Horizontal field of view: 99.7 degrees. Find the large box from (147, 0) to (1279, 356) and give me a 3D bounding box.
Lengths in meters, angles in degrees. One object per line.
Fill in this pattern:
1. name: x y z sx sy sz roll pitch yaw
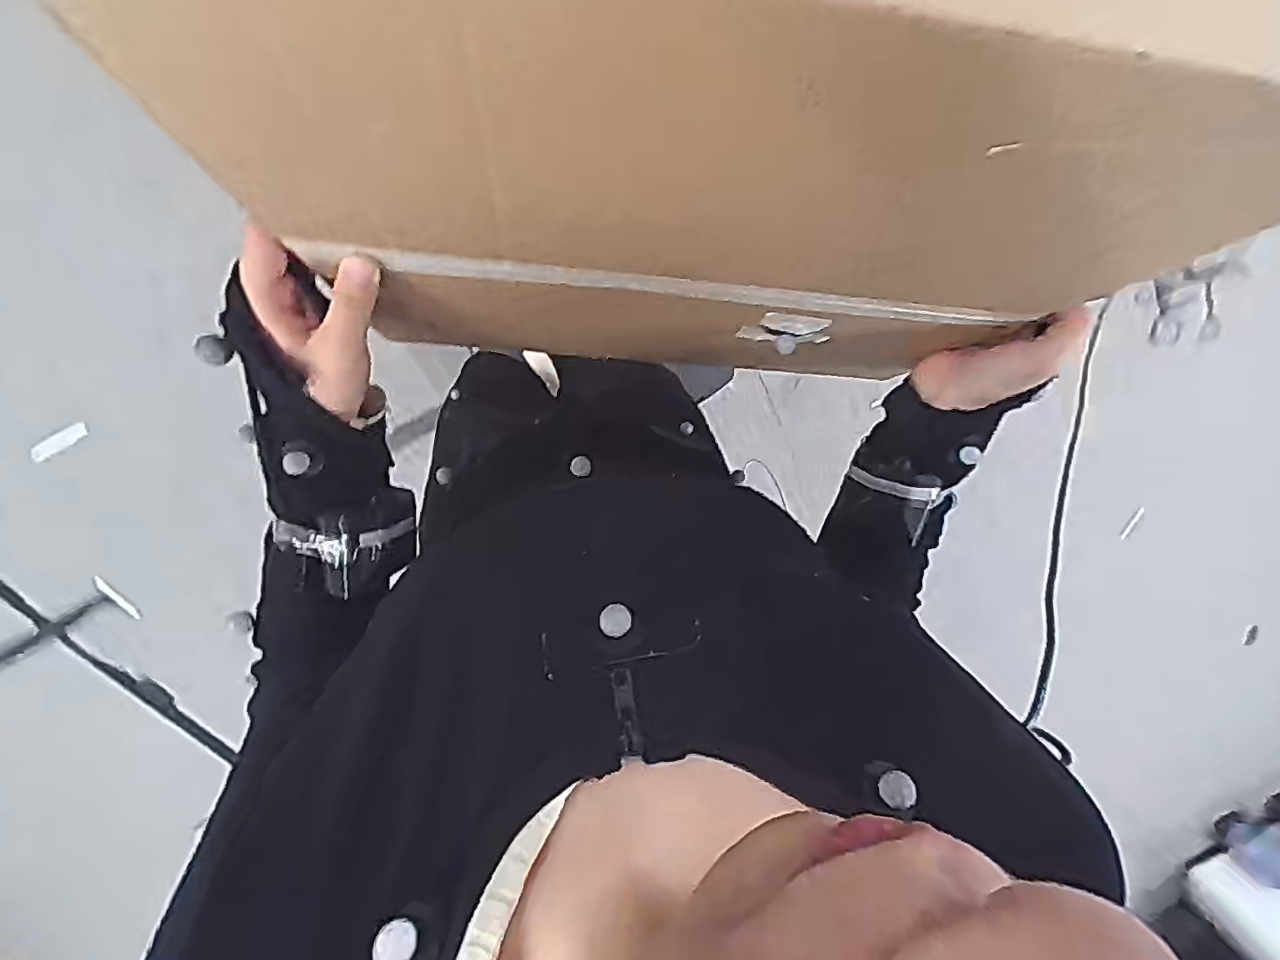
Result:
1. large box: 0.052 -0.266 0.267 0.408 0.320 0.320 2 87 -9
